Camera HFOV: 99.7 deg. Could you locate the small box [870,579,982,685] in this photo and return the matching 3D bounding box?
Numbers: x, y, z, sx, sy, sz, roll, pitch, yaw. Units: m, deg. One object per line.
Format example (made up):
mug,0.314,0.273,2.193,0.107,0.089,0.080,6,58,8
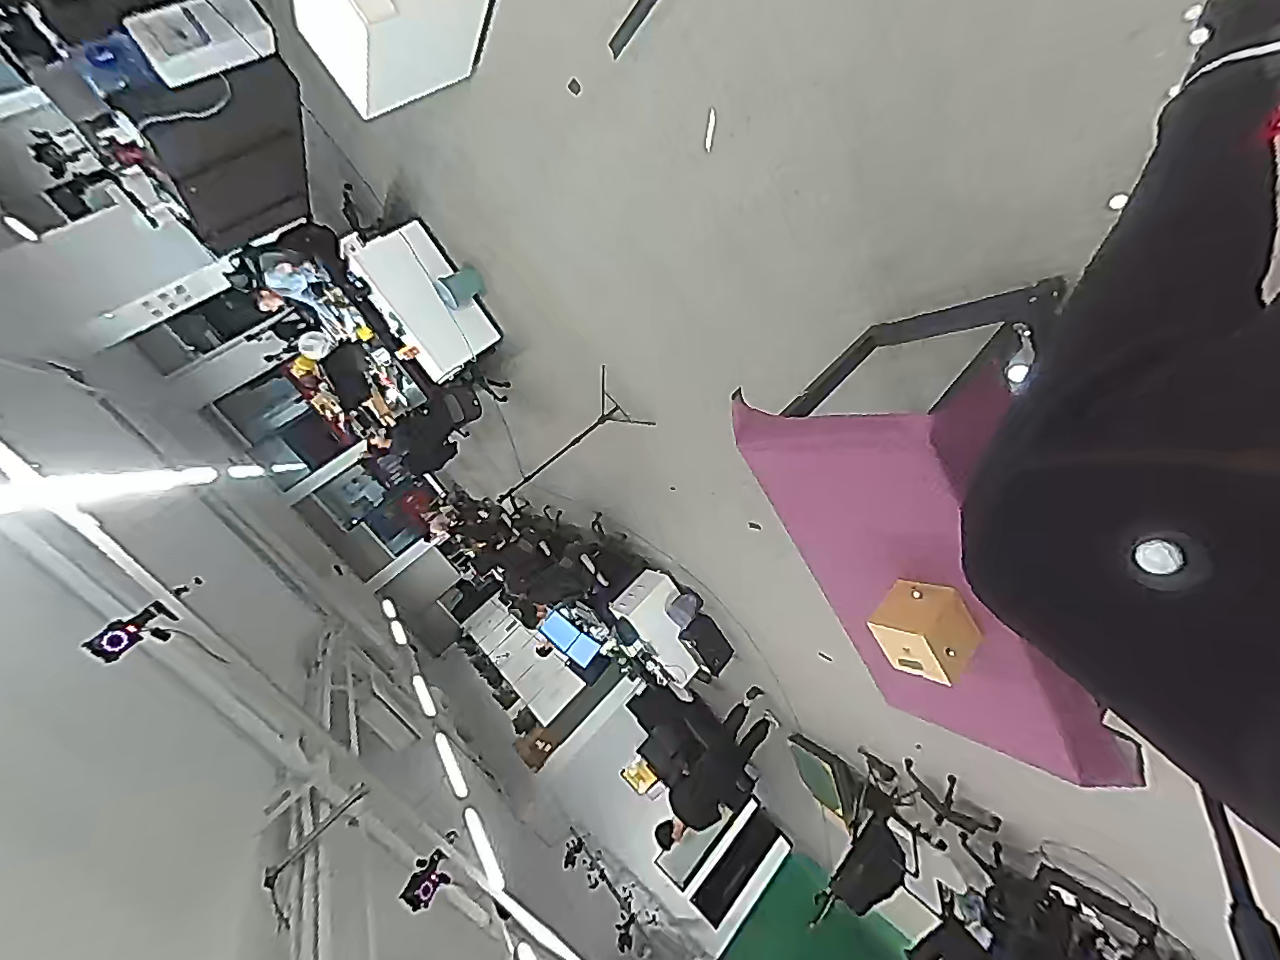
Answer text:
small box,0.740,0.384,1.392,0.179,0.176,0.168,55,157,-15
